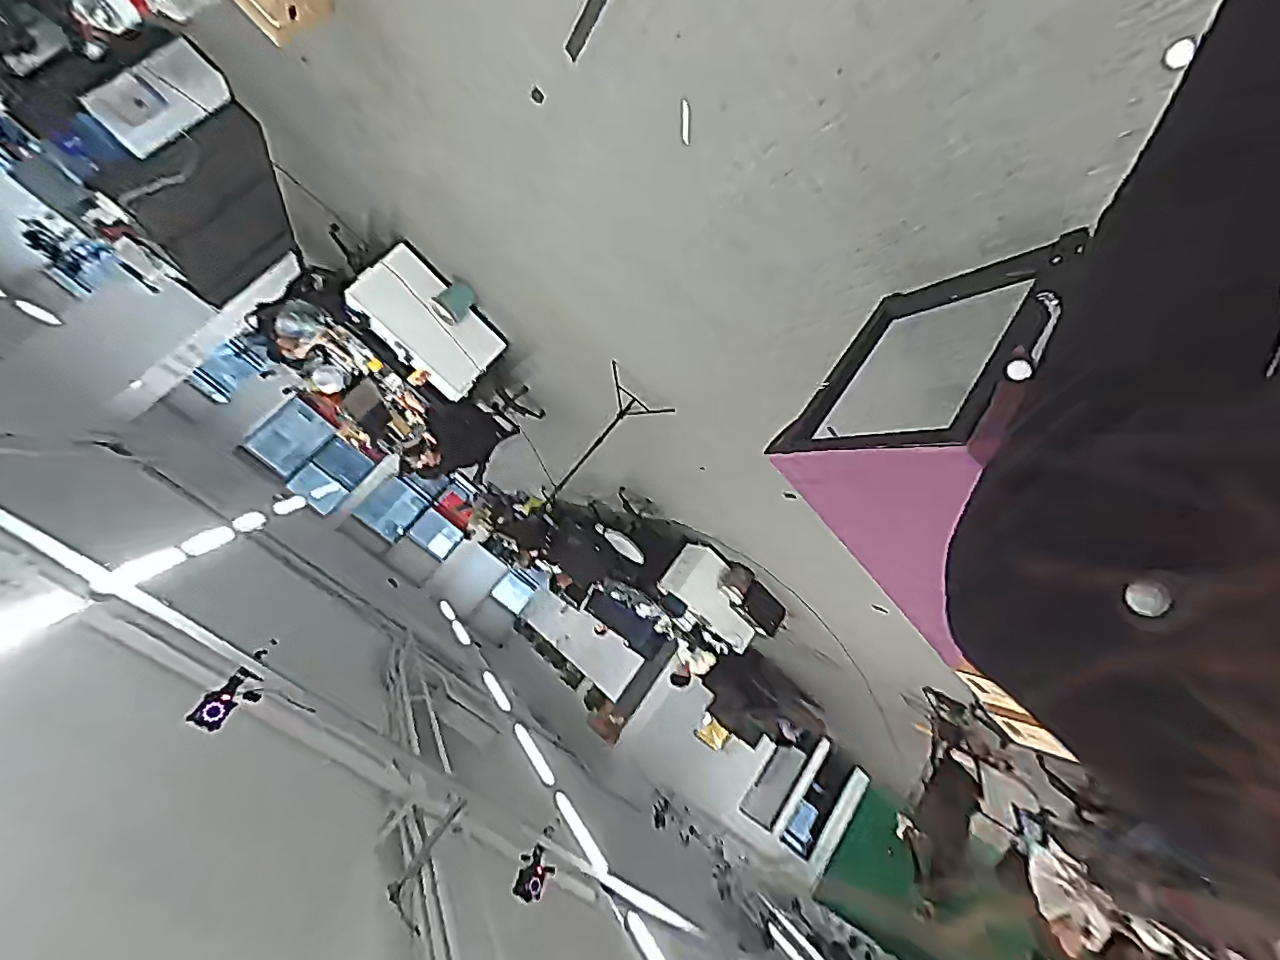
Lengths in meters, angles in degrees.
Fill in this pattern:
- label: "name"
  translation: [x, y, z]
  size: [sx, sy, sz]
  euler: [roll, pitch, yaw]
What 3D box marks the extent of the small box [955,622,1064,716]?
- label: "small box"
  translation: [1.047, 0.527, 1.533]
  size: [0.168, 0.176, 0.179]
  euler: [43, 162, -17]
